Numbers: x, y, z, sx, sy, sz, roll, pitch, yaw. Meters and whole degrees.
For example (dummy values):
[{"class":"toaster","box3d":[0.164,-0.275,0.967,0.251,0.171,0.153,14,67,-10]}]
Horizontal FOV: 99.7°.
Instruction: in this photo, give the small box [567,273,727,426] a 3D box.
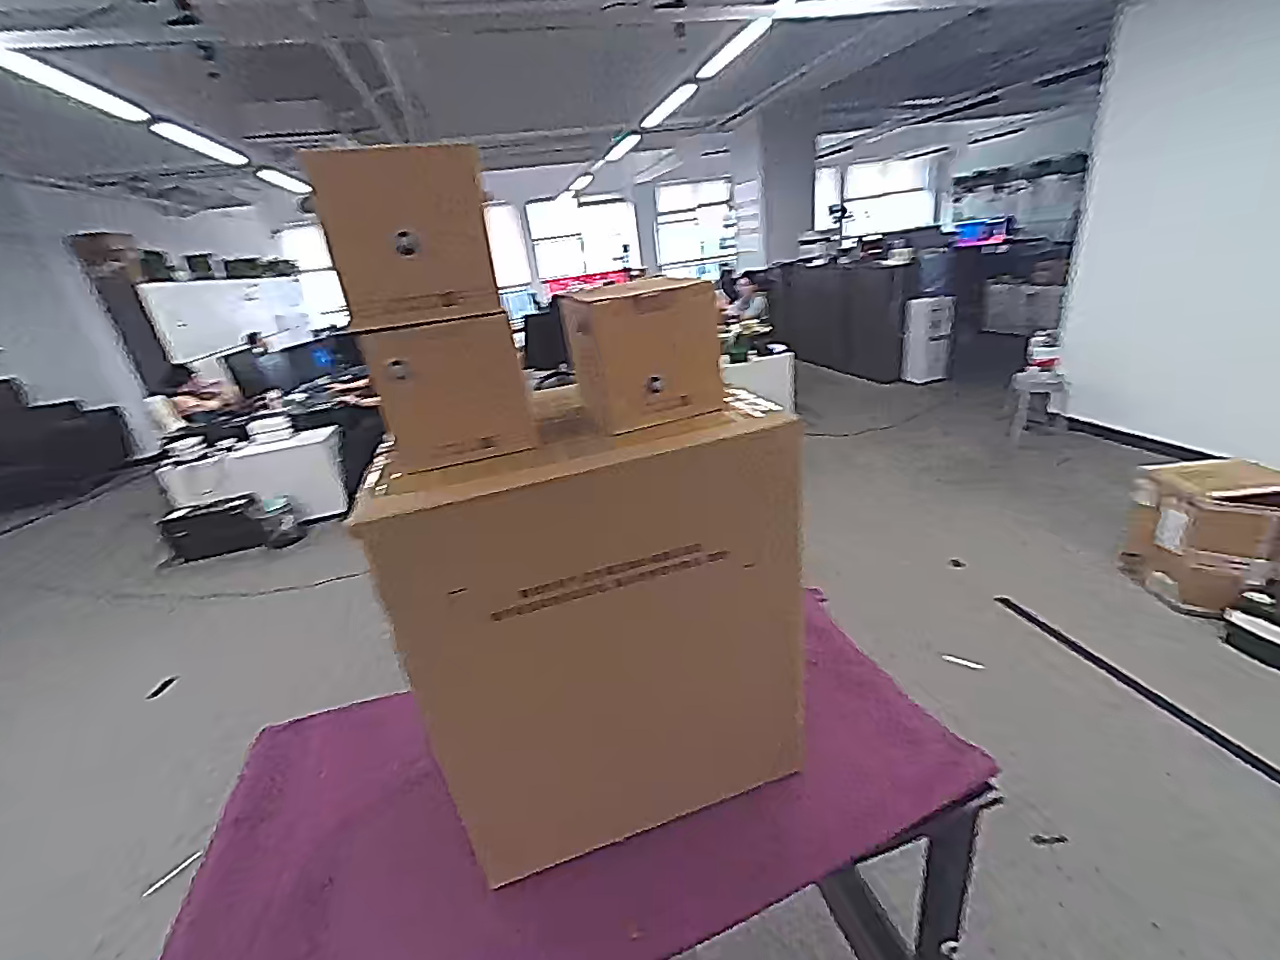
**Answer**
[{"class":"small box","box3d":[0.007,-0.184,0.745,0.168,0.176,0.179,-15,25,-14]}]

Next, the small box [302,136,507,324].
[{"class":"small box","box3d":[-0.258,-0.279,0.626,0.168,0.176,0.179,-13,24,-17]}]
